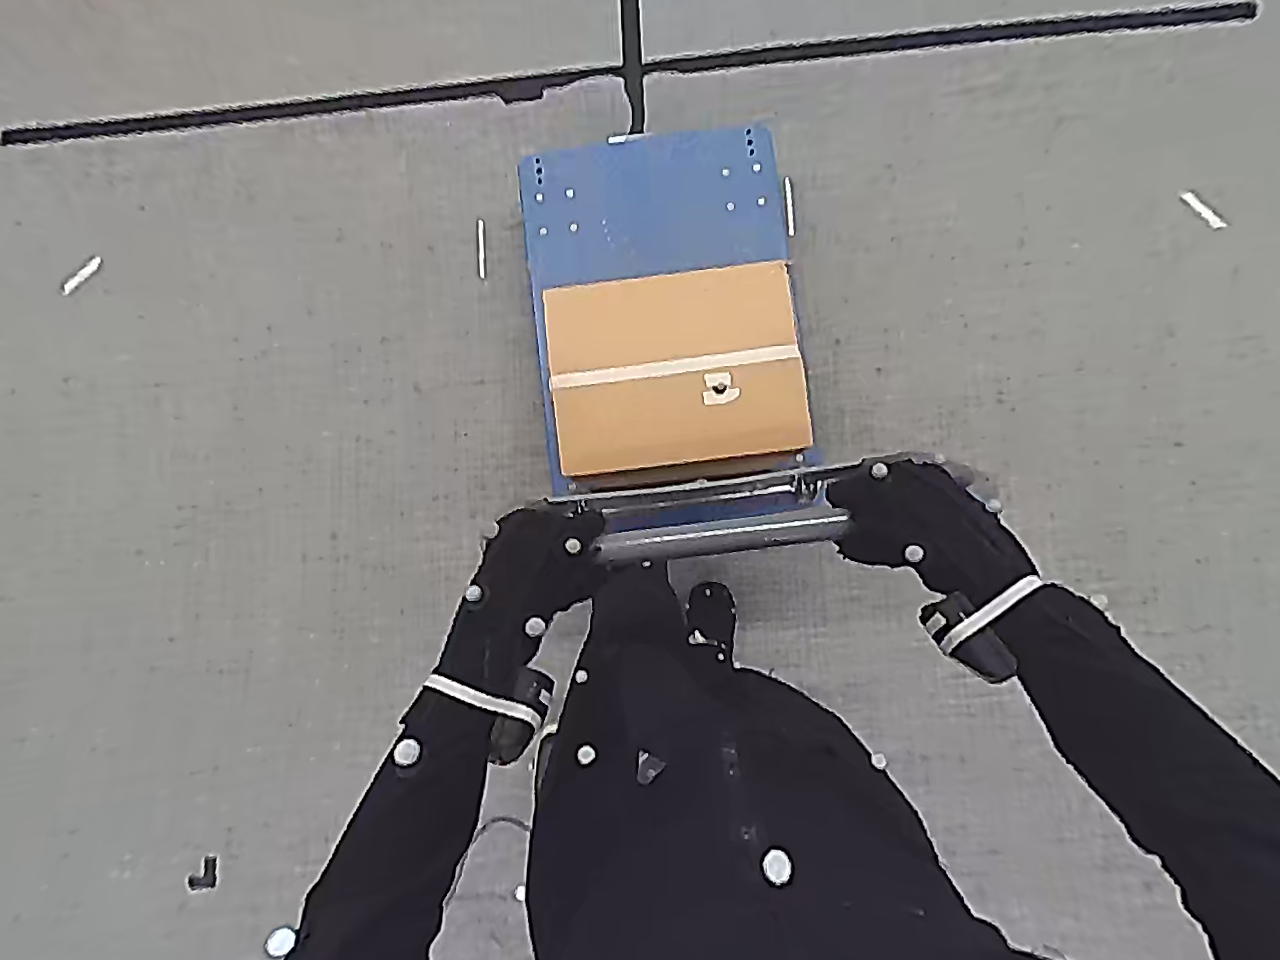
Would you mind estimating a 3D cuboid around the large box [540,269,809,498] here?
[{"bbox_3d":[0.054,-0.153,1.013,0.408,0.320,0.320,-7,85,0],"label":"large box"}]
